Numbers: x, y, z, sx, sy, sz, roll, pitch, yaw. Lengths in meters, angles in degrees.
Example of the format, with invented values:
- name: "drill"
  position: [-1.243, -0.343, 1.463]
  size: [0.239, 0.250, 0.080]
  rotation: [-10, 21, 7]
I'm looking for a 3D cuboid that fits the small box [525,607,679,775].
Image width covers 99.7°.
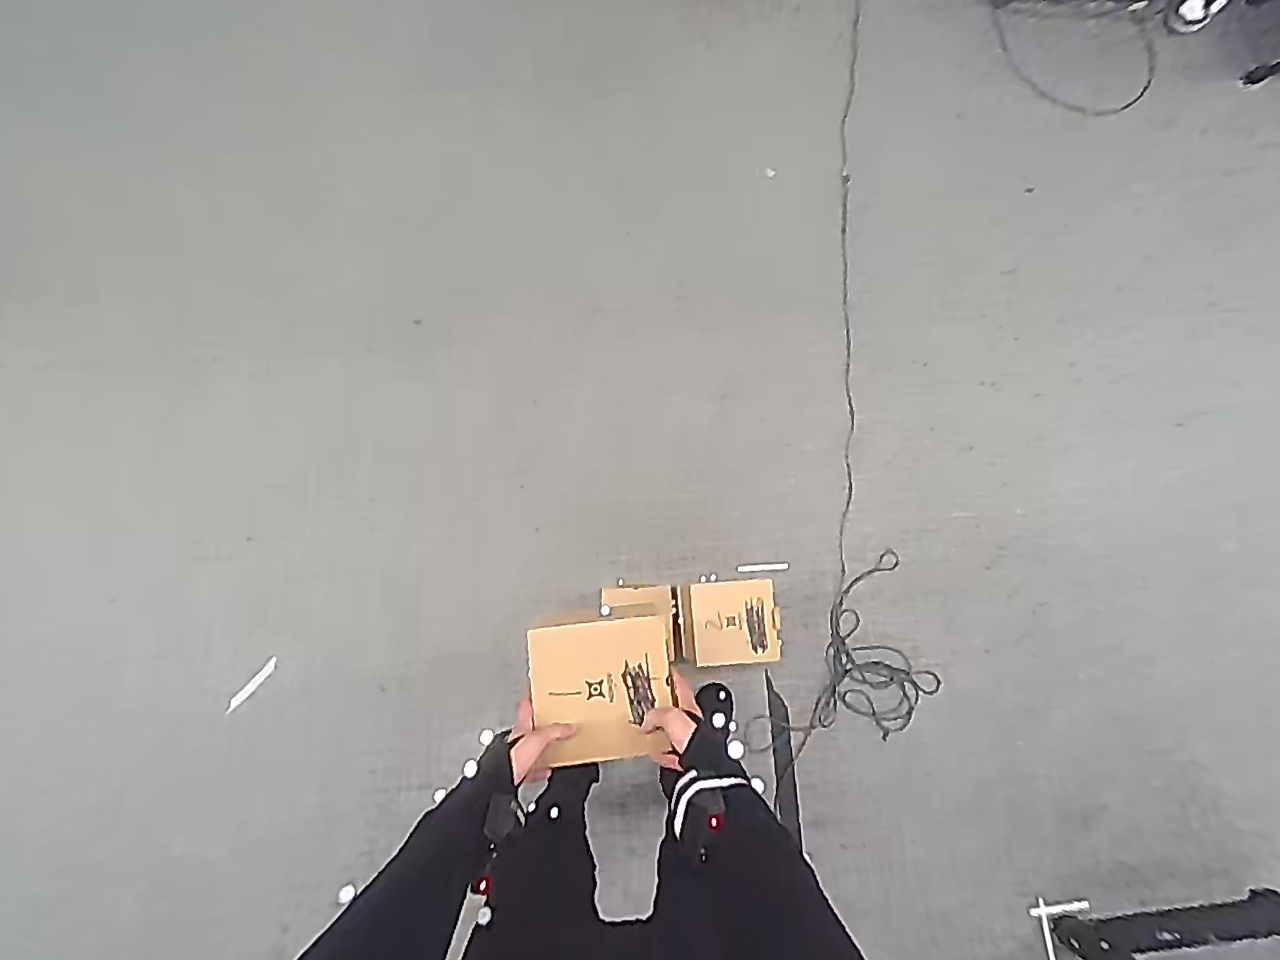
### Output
- name: "small box"
  position: [-0.051, 0.271, 0.732]
  size: [0.179, 0.176, 0.168]
  rotation: [-6, 83, -3]
